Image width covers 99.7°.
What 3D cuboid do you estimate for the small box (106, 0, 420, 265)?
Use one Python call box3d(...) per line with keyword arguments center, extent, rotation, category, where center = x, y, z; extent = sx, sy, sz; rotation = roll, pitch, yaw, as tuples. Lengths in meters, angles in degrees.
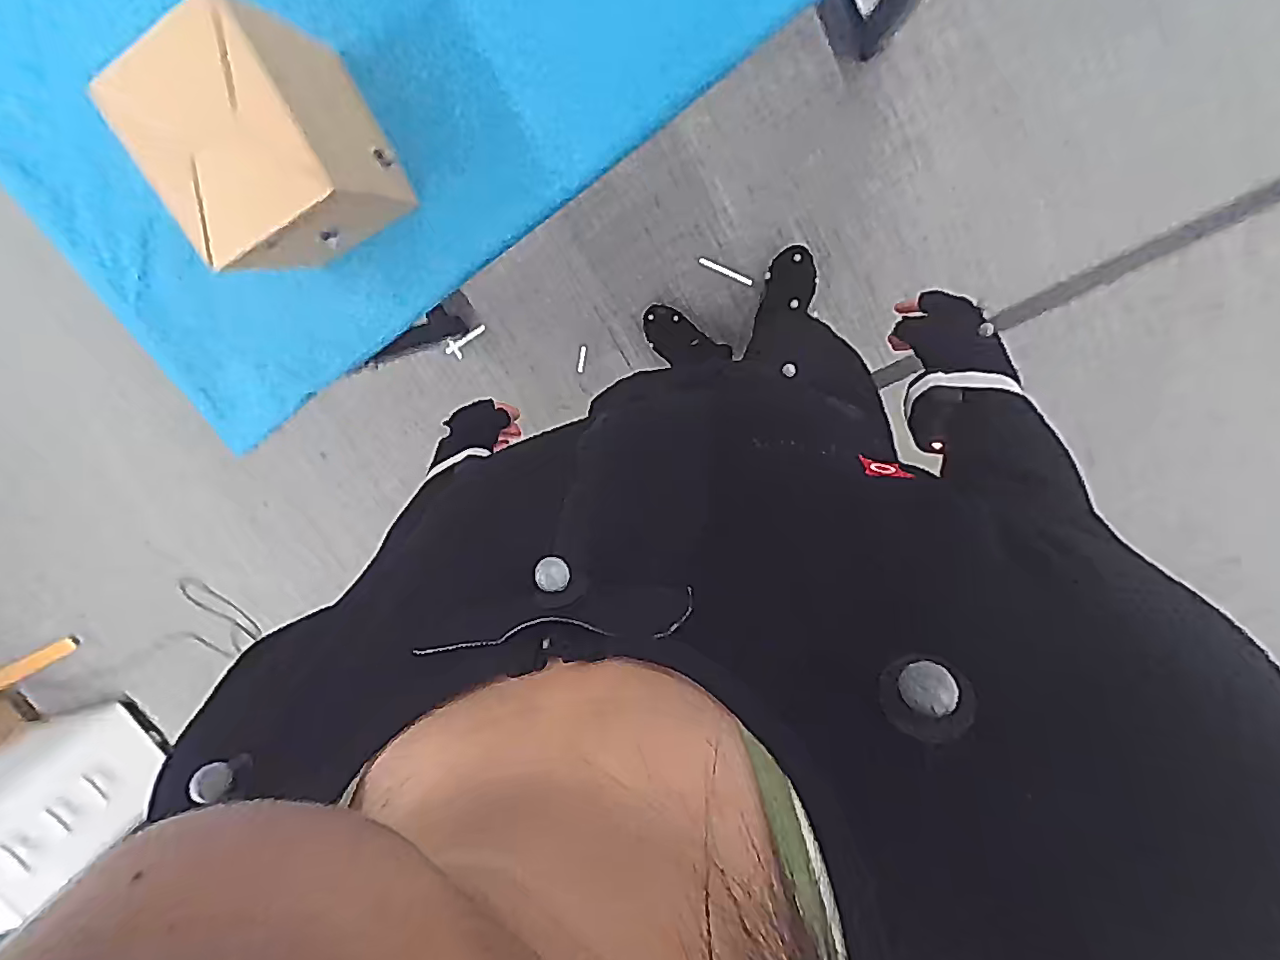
box3d(center=(-0.381, -0.345, 0.570), extent=(0.168, 0.176, 0.179), rotation=(-23, 108, 15), category="small box")
